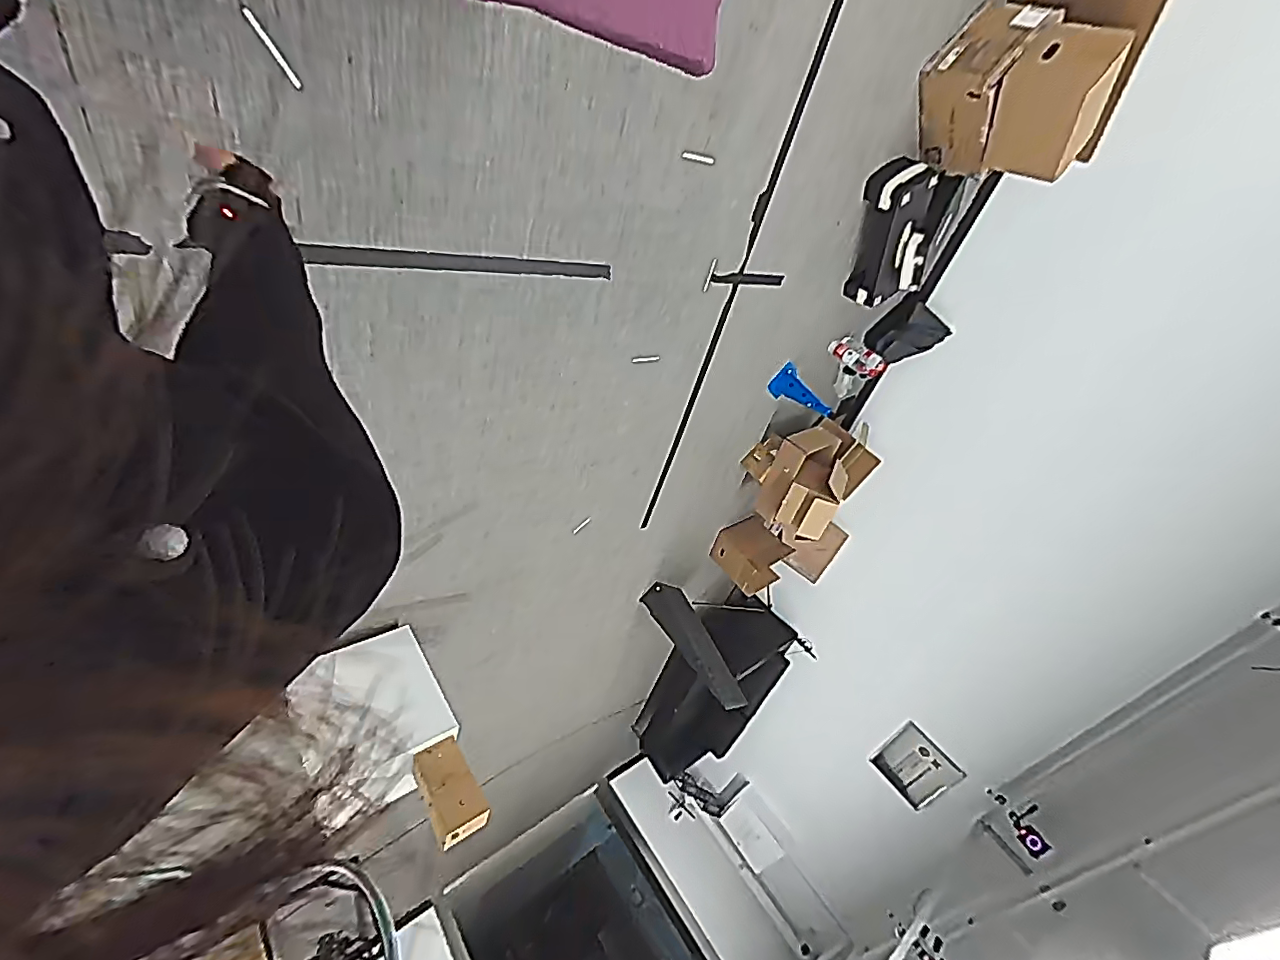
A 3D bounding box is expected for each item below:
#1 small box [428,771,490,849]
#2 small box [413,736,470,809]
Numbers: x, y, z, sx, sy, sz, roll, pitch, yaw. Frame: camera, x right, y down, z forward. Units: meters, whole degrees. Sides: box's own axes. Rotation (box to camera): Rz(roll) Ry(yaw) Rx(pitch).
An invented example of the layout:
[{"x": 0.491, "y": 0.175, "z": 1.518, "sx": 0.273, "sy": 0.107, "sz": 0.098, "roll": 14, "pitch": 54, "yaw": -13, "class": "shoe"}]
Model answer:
[{"x": -0.710, "y": 1.279, "z": 2.103, "sx": 0.179, "sy": 0.176, "sz": 0.168, "roll": -15, "pitch": 140, "yaw": -39, "class": "small box"}, {"x": -0.809, "y": 1.180, "z": 2.191, "sx": 0.168, "sy": 0.176, "sz": 0.179, "roll": -15, "pitch": 139, "yaw": -38, "class": "small box"}]
